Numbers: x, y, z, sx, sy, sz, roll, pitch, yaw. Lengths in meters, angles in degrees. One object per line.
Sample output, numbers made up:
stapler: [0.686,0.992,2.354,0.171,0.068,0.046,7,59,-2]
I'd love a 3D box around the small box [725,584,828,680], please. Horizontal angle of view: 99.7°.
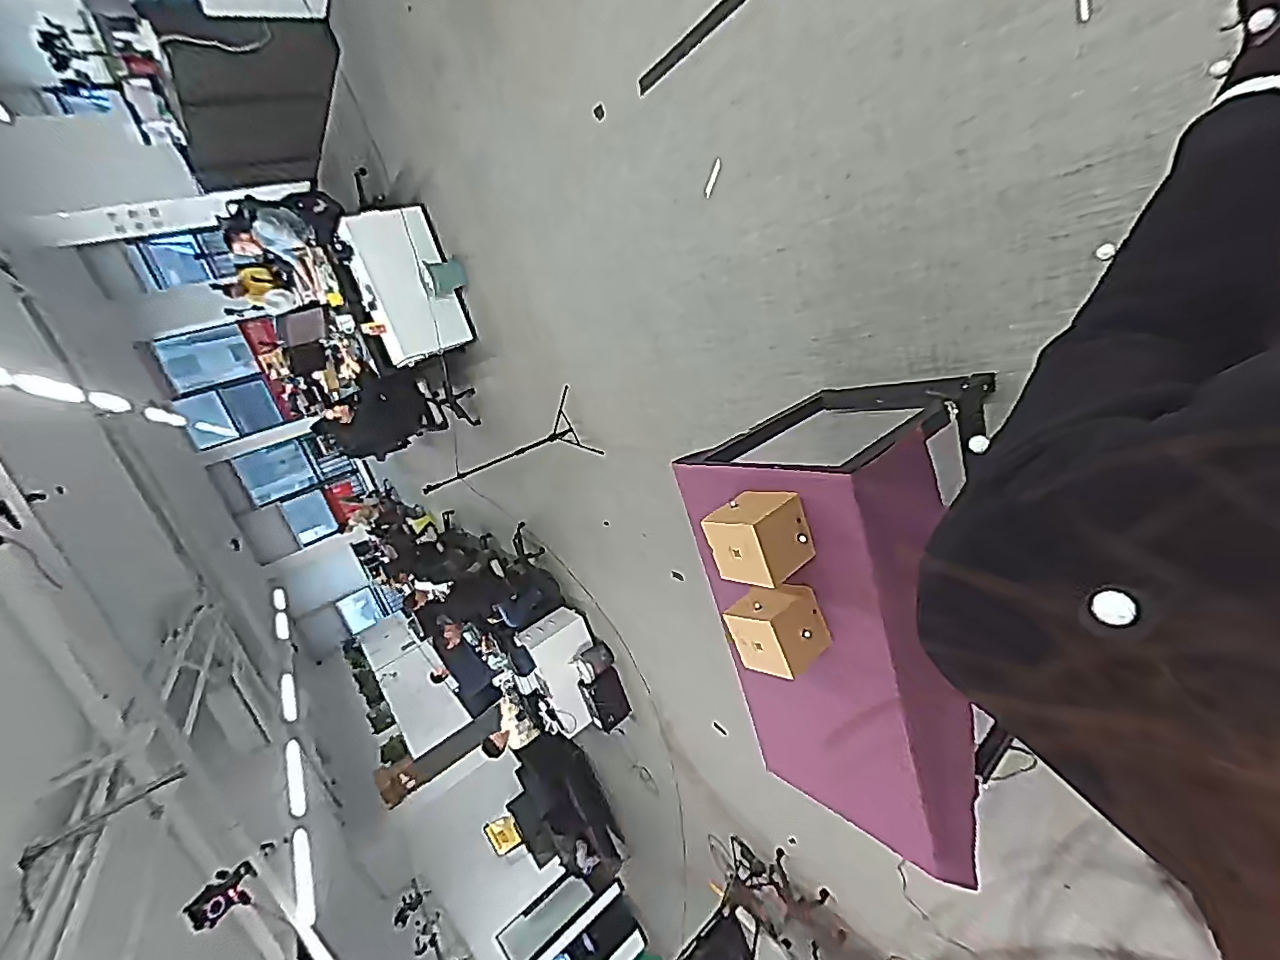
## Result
small box: [0.360,0.384,1.403,0.179,0.176,0.168,-10,106,59]

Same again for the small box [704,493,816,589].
small box: [0.290,0.139,1.310,0.179,0.176,0.168,0,115,57]
